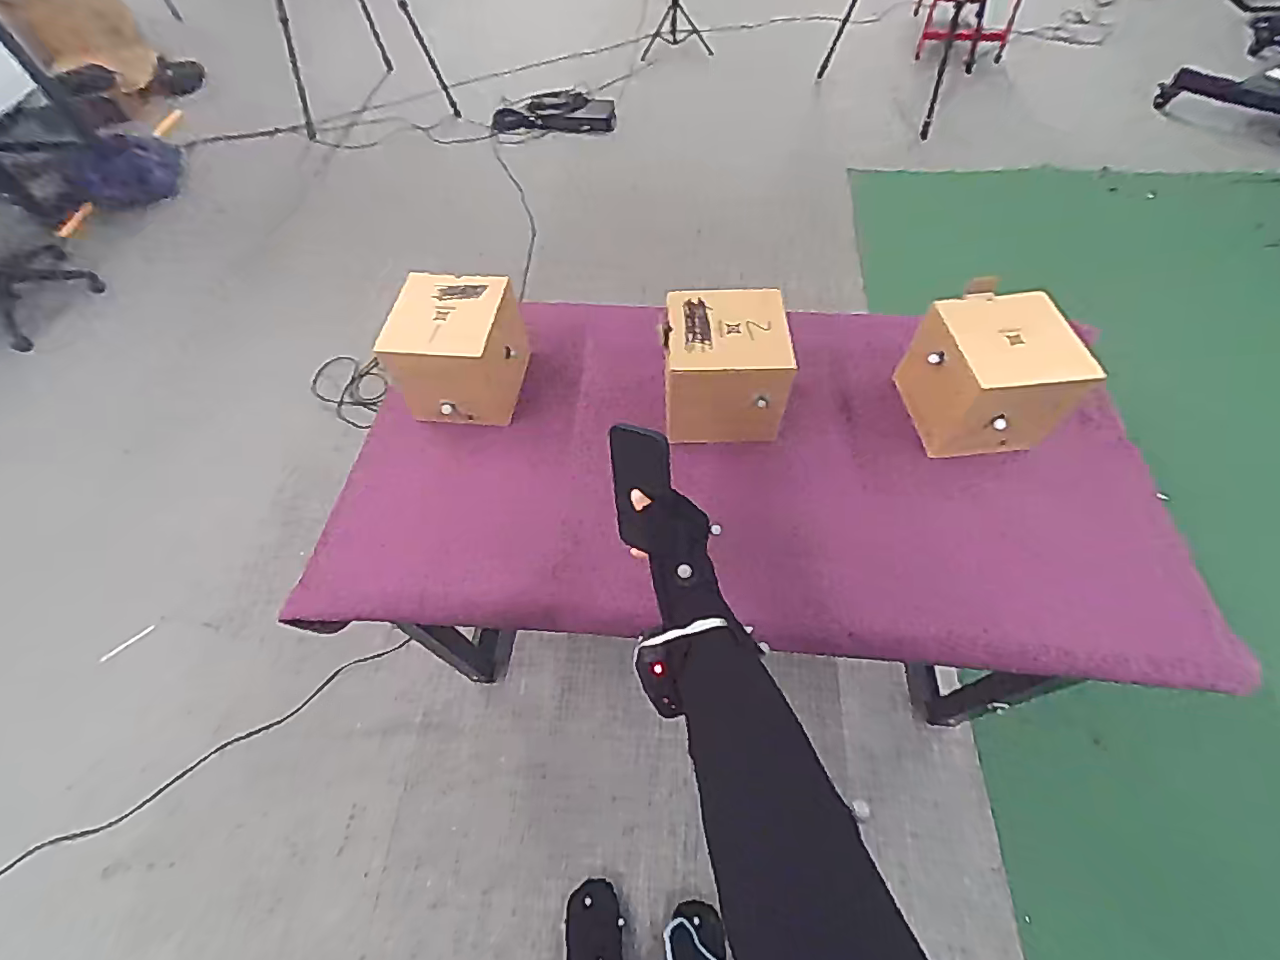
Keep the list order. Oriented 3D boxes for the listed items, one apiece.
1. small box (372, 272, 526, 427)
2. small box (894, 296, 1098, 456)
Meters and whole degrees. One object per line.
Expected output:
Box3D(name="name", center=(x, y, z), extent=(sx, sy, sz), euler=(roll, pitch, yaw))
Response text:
Box3D(name="small box", center=(-0.294, -0.210, 0.881), extent=(0.168, 0.176, 0.179), euler=(5, 60, 5))
Box3D(name="small box", center=(0.515, -0.148, 0.815), extent=(0.168, 0.176, 0.179), euler=(-5, 57, 0))
